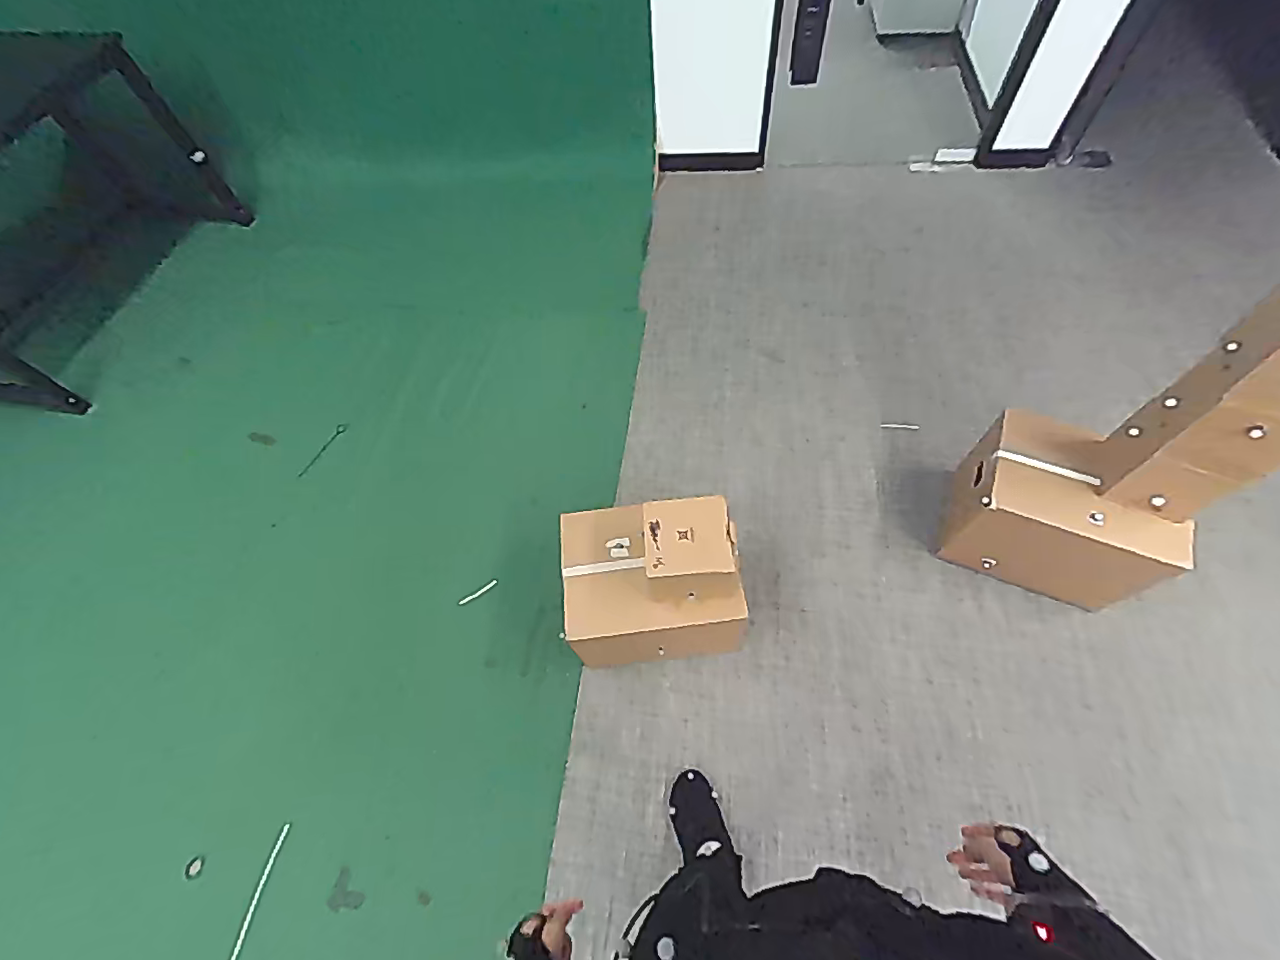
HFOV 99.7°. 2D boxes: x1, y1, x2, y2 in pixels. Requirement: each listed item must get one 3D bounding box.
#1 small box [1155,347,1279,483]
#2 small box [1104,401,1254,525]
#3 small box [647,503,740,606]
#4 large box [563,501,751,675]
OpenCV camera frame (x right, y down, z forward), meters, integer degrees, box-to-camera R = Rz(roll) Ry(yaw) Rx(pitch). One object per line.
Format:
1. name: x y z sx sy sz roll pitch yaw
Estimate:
1. small box: 1.145 -0.117 1.027 0.179 0.176 0.168 22 62 18
2. small box: 1.148 -0.034 1.166 0.168 0.176 0.179 21 62 17
3. small box: 0.107 0.162 1.143 0.179 0.176 0.168 -4 59 3
4. large box: 0.042 0.284 1.365 0.408 0.320 0.320 -8 58 2
